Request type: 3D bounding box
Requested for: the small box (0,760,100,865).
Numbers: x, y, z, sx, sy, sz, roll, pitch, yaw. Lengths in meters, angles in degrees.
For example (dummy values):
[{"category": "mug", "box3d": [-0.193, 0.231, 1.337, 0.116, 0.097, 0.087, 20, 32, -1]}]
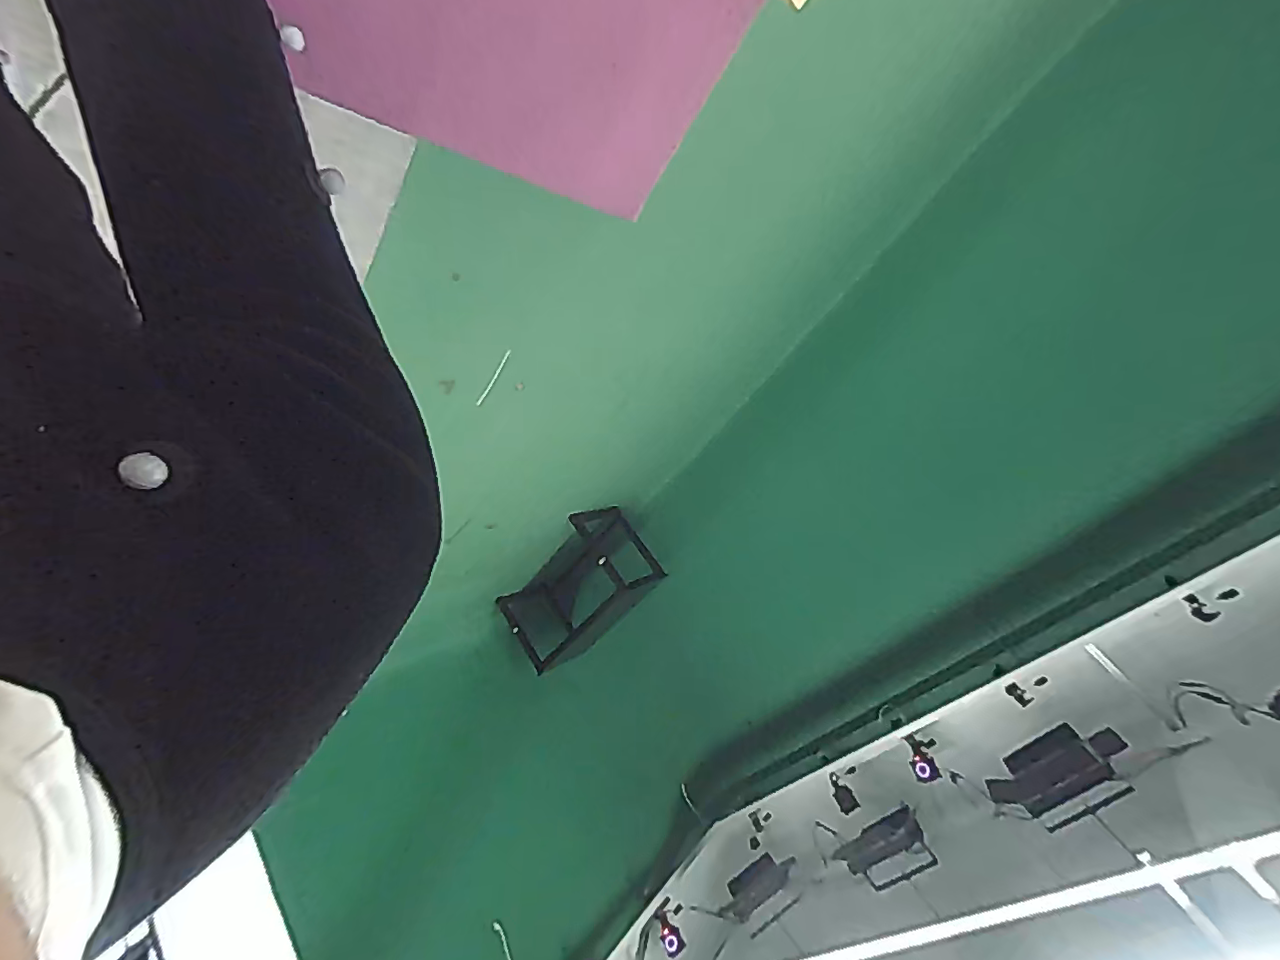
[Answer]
[{"category": "small box", "box3d": [-1.685, 0.940, 1.542, 0.179, 0.176, 0.168, -48, 159, 26]}]
